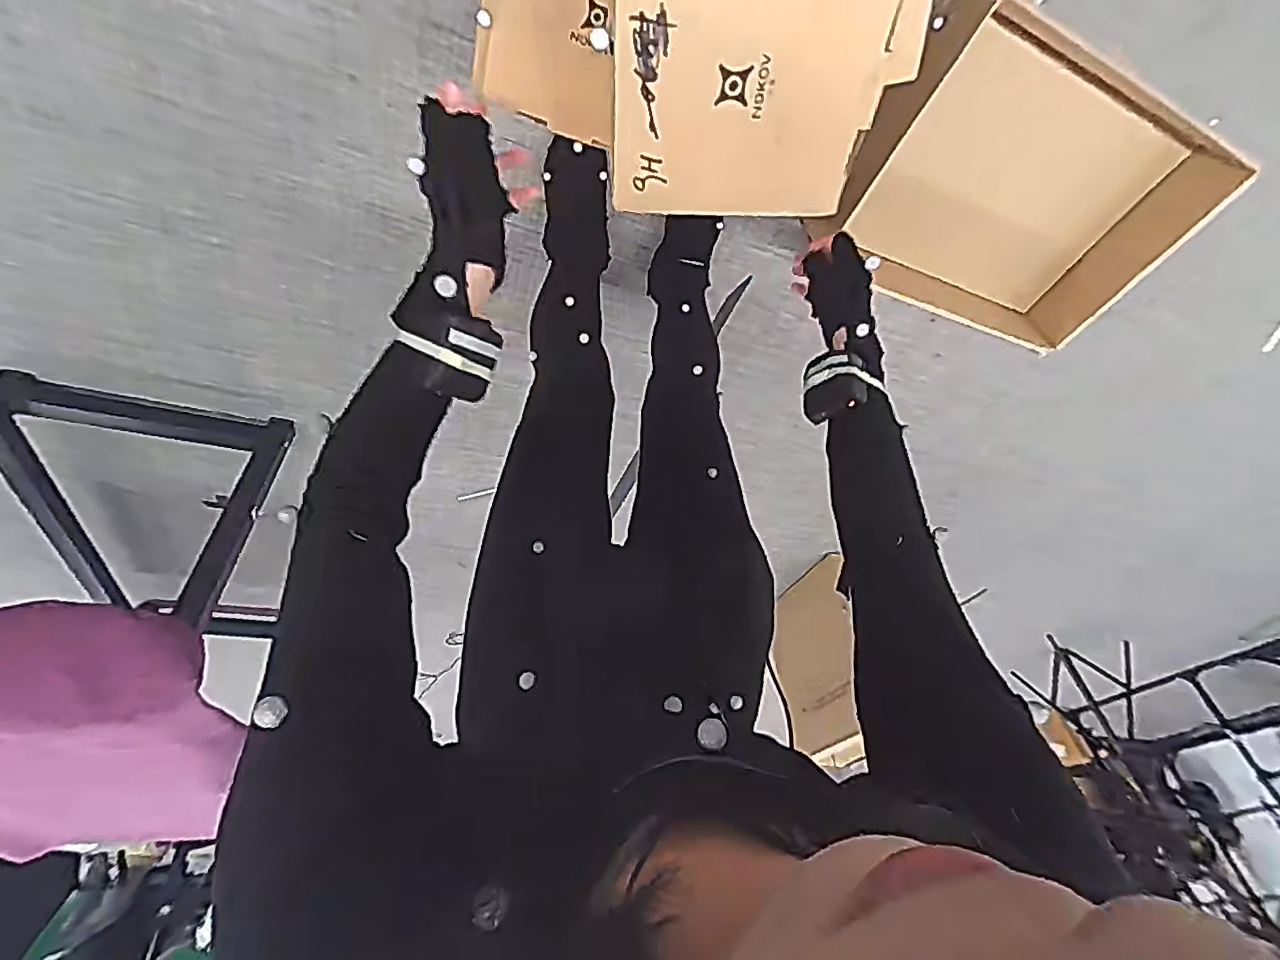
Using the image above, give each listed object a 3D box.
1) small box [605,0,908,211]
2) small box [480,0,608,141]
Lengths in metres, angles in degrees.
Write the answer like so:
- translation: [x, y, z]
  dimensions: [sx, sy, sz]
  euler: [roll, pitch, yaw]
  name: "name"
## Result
- translation: [0.066, -0.319, 0.397]
  dimensions: [0.179, 0.176, 0.168]
  euler: [-1, 140, -5]
  name: "small box"
- translation: [-0.044, -0.444, 0.493]
  dimensions: [0.168, 0.176, 0.179]
  euler: [8, 137, -19]
  name: "small box"
